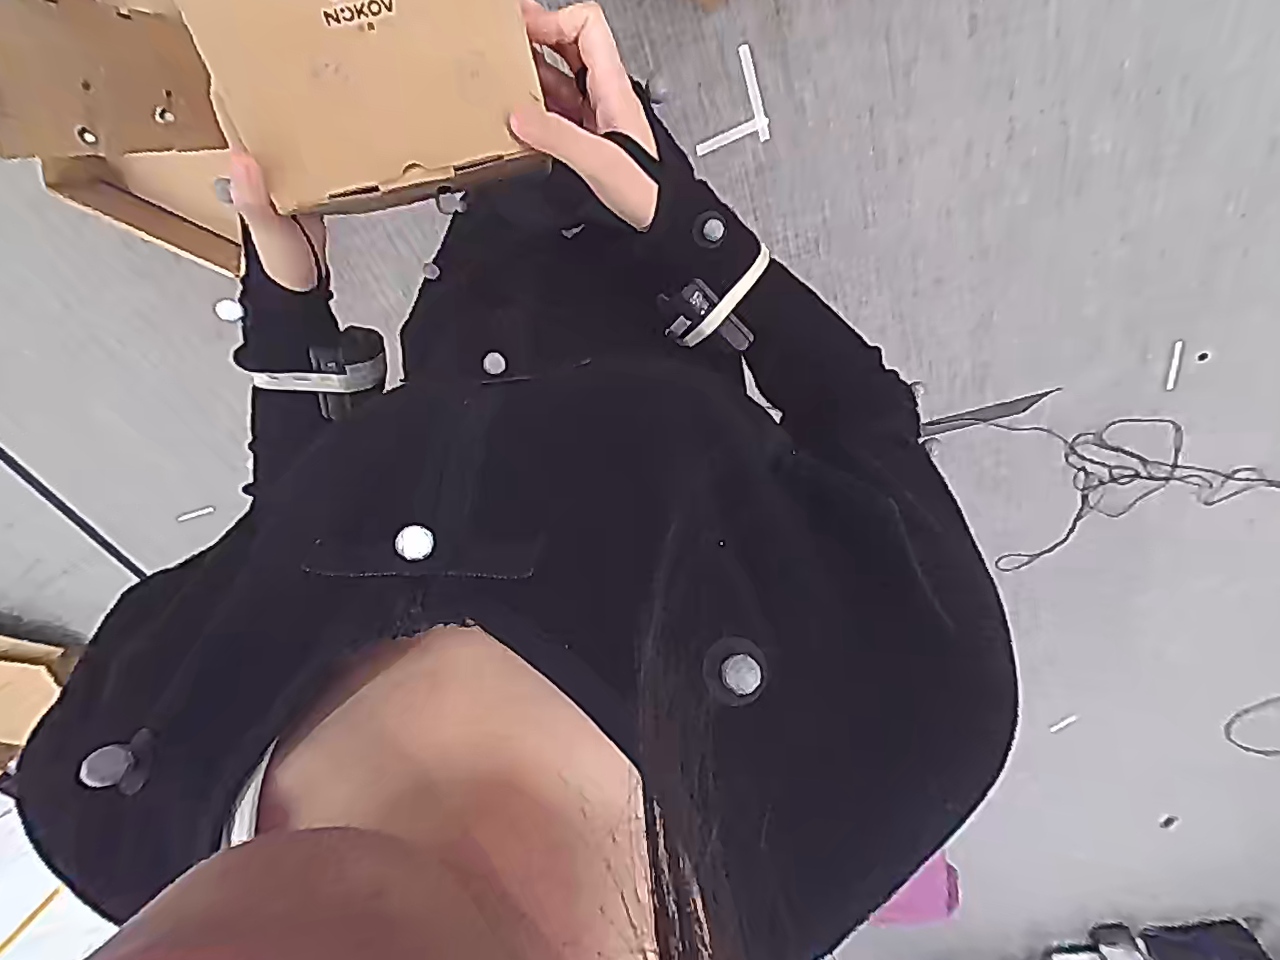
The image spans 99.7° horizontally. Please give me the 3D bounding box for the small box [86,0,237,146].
[{"bbox_3d":[-0.919,-0.774,1.041,0.179,0.176,0.168,27,121,-14],"label":"small box"}]

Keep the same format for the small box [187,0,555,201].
[{"bbox_3d":[-0.156,-0.289,0.340,0.168,0.176,0.179,-16,119,-4],"label":"small box"}]

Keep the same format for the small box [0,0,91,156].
[{"bbox_3d":[-0.940,-0.596,0.769,0.179,0.176,0.168,26,122,-12],"label":"small box"}]

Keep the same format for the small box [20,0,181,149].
[{"bbox_3d":[-0.927,-0.686,0.906,0.179,0.176,0.168,25,122,-14],"label":"small box"}]
